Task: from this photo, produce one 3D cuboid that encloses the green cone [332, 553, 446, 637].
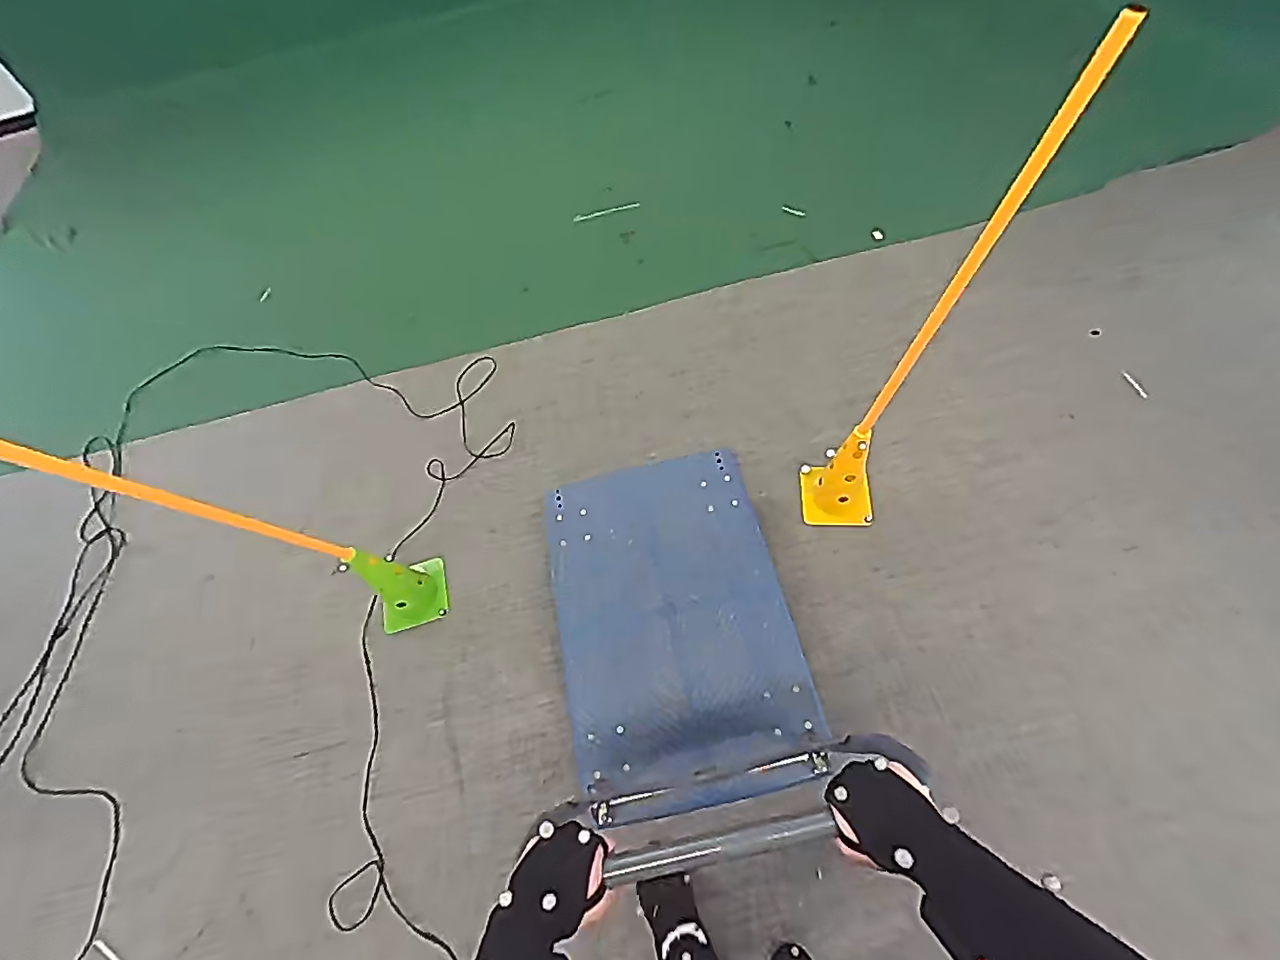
[{"bbox_3d":[-0.723,0.280,1.510,0.202,0.368,0.200,-18,60,-1],"label":"green cone"}]
